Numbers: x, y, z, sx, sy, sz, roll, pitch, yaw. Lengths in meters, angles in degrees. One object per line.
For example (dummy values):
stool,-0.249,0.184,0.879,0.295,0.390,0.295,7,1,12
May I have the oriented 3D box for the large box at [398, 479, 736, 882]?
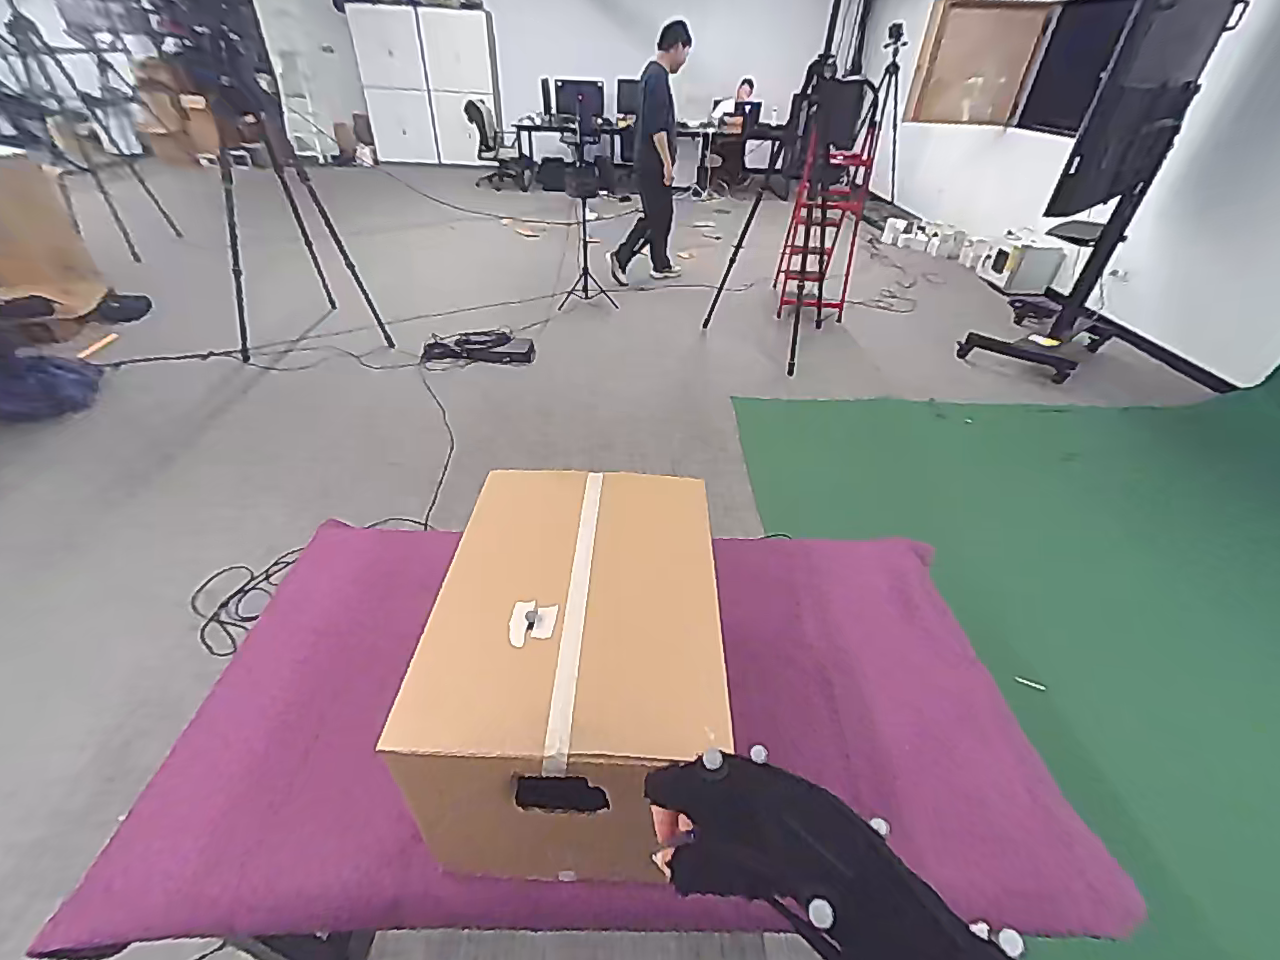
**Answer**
large box,-0.072,0.247,0.728,0.320,0.320,0.408,3,38,0
